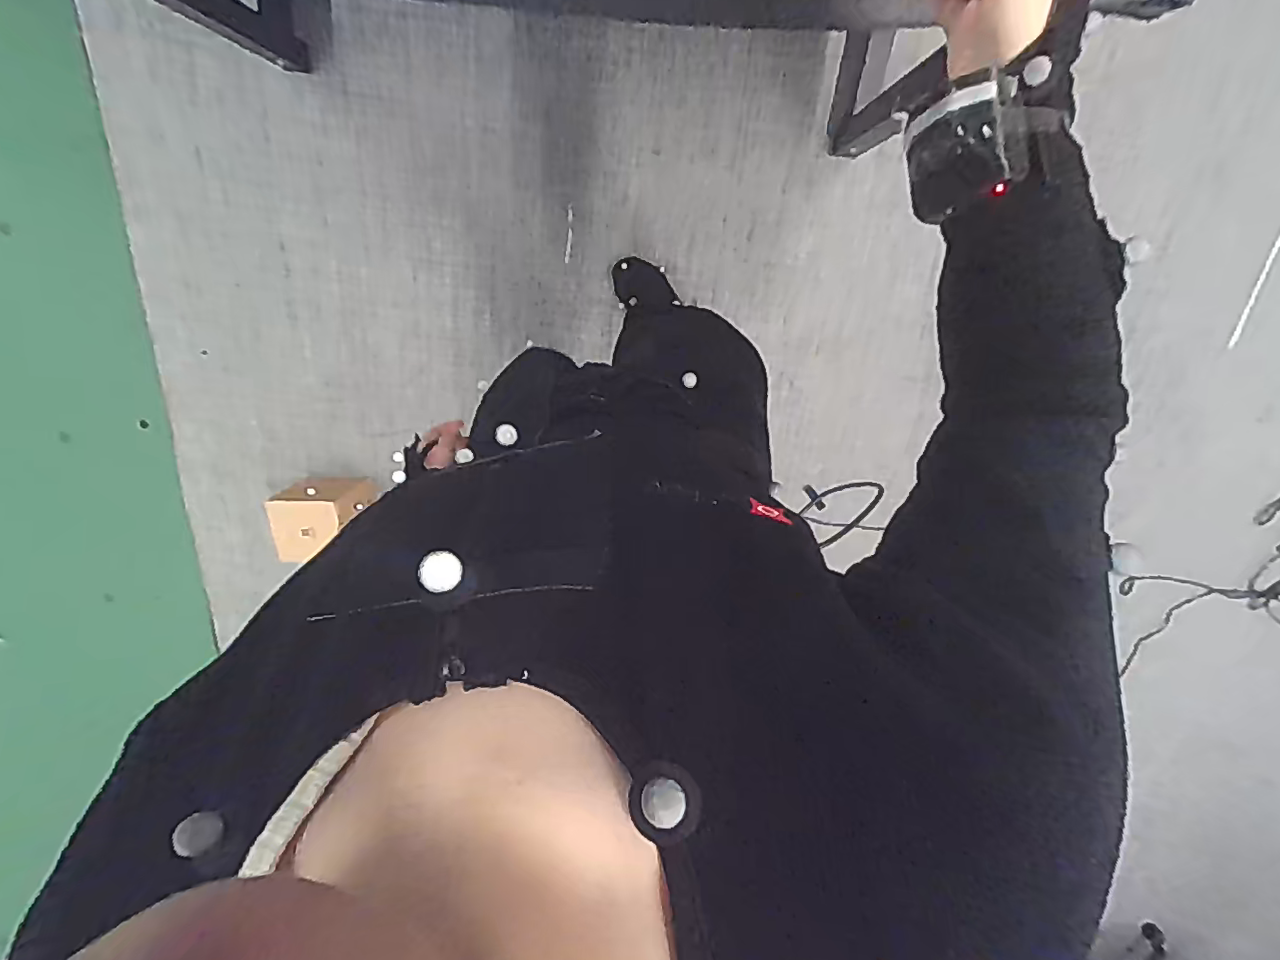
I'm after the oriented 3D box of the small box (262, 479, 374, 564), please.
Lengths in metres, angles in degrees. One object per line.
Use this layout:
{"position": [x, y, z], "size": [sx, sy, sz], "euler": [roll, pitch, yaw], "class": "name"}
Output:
{"position": [-0.801, 0.100, 1.371], "size": [0.179, 0.176, 0.168], "euler": [0, 110, 2], "class": "small box"}
